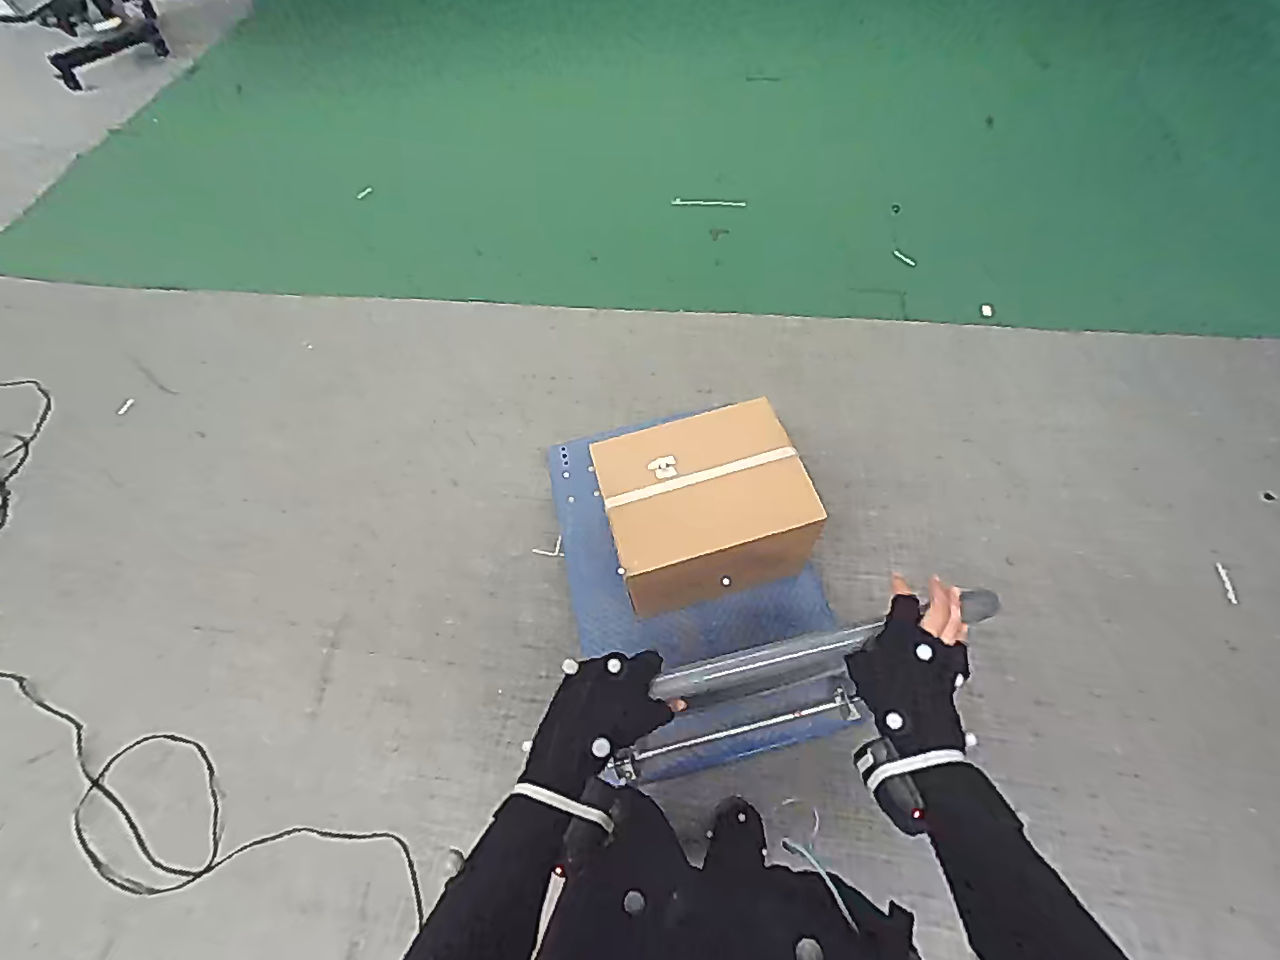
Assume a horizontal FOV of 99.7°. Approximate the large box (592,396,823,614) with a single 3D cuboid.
[{"bbox_3d":[0.142,0.069,1.240,0.408,0.320,0.320,-18,61,-3],"label":"large box"}]
